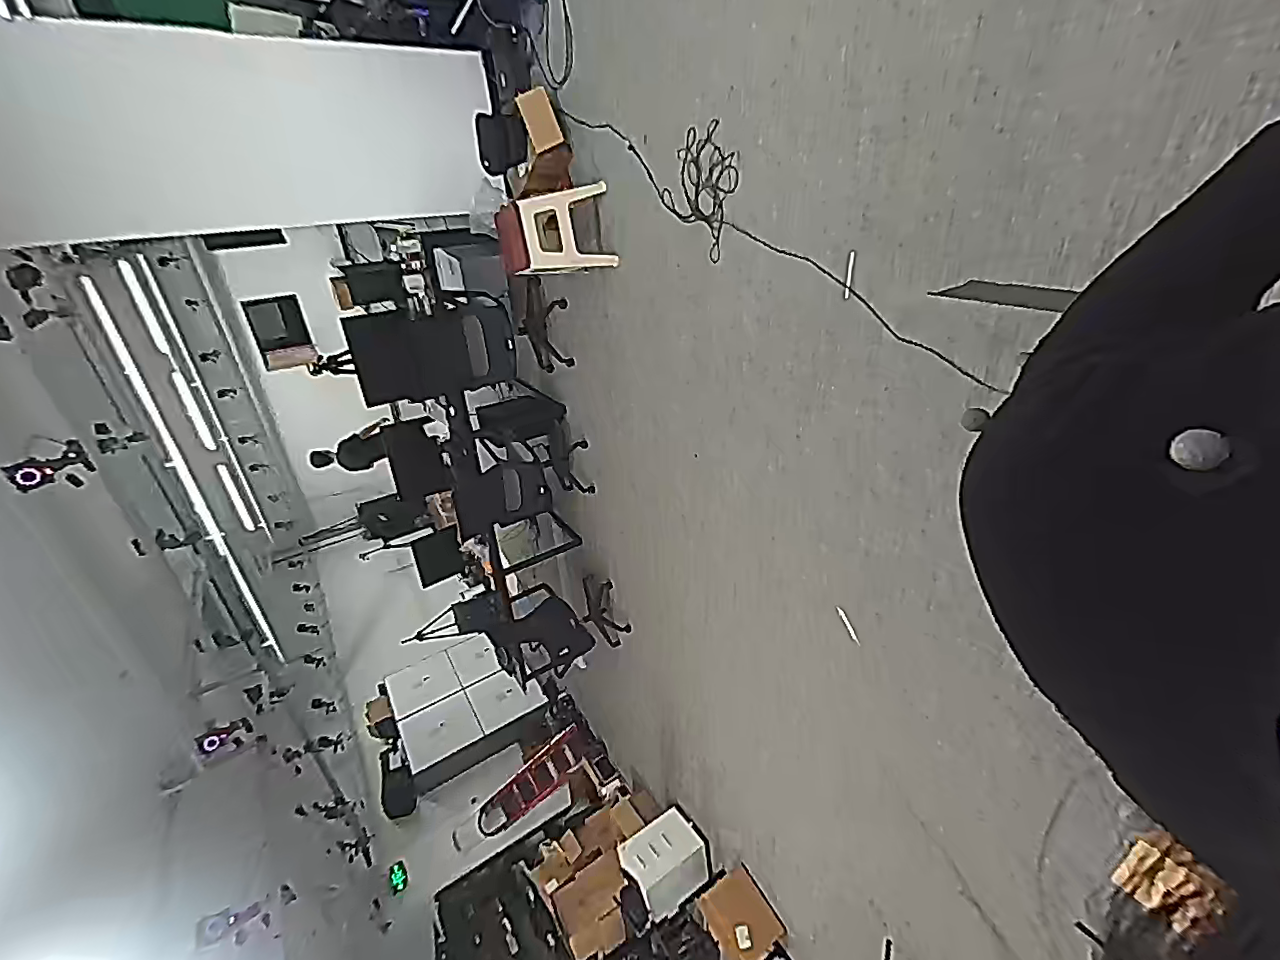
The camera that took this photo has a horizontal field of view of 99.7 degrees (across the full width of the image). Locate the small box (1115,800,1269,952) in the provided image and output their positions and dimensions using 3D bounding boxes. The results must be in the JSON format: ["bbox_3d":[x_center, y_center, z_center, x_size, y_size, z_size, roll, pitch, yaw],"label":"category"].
[{"bbox_3d":[1.192,0.848,1.170,0.168,0.176,0.179,34,136,47],"label":"small box"}]
